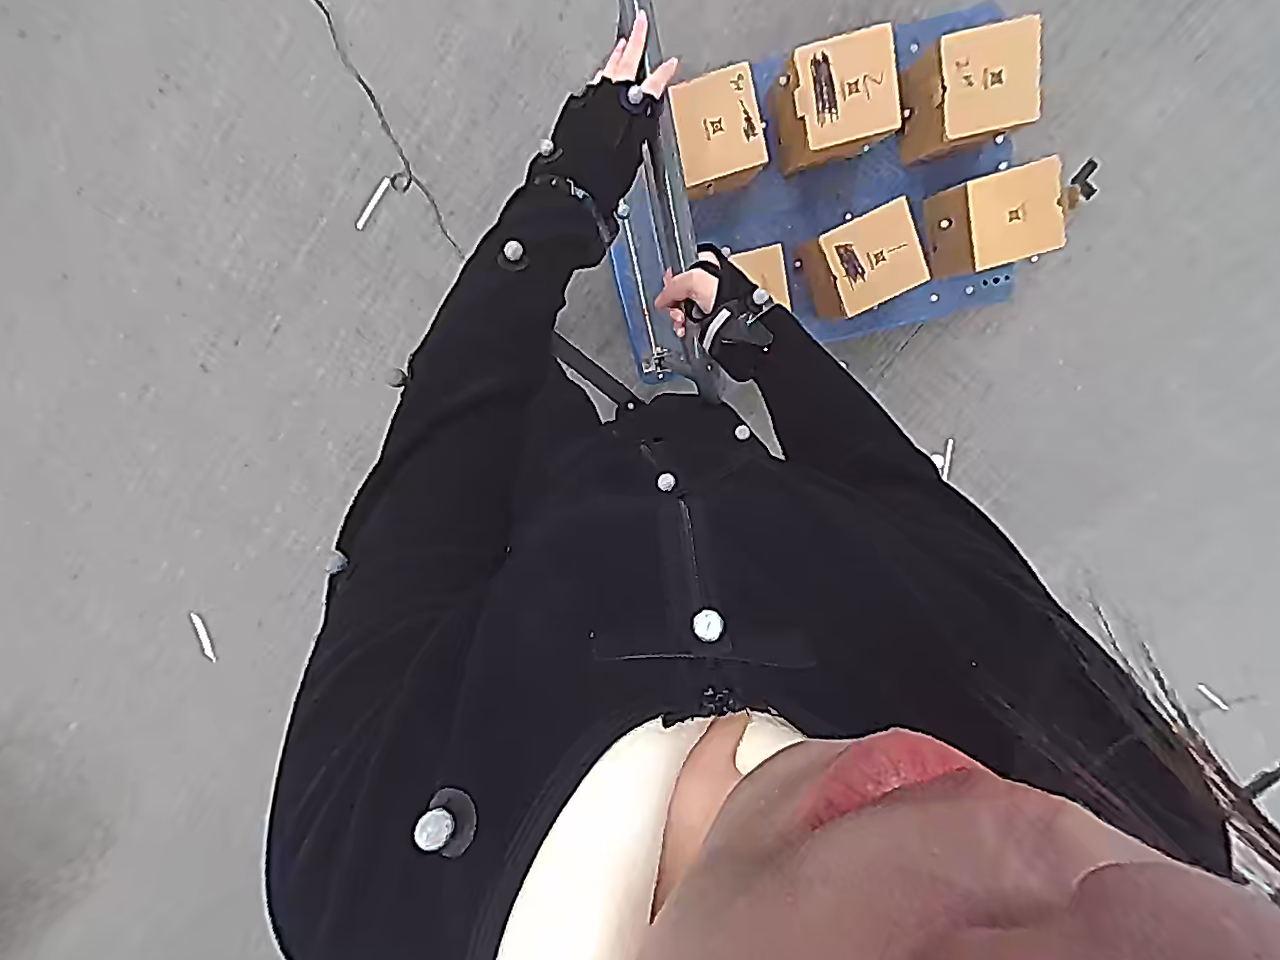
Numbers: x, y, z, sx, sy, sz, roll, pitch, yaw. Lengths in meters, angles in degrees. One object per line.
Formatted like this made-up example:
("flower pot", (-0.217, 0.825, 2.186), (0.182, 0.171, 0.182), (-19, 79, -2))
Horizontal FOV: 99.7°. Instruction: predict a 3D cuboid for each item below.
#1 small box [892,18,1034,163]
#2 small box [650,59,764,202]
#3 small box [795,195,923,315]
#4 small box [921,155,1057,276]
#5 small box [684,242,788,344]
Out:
("small box", (0.614, -0.738, 1.043), (0.179, 0.176, 0.168), (-11, 106, 2))
("small box", (0.121, -0.660, 1.044), (0.179, 0.176, 0.168), (-16, 107, 2))
("small box", (0.439, -0.453, 1.117), (0.179, 0.176, 0.168), (-25, 105, 4))
("small box", (0.701, -0.529, 1.107), (0.179, 0.176, 0.168), (-16, 105, 2))
("small box", (0.192, -0.382, 1.128), (0.179, 0.176, 0.168), (-13, 107, 1))
